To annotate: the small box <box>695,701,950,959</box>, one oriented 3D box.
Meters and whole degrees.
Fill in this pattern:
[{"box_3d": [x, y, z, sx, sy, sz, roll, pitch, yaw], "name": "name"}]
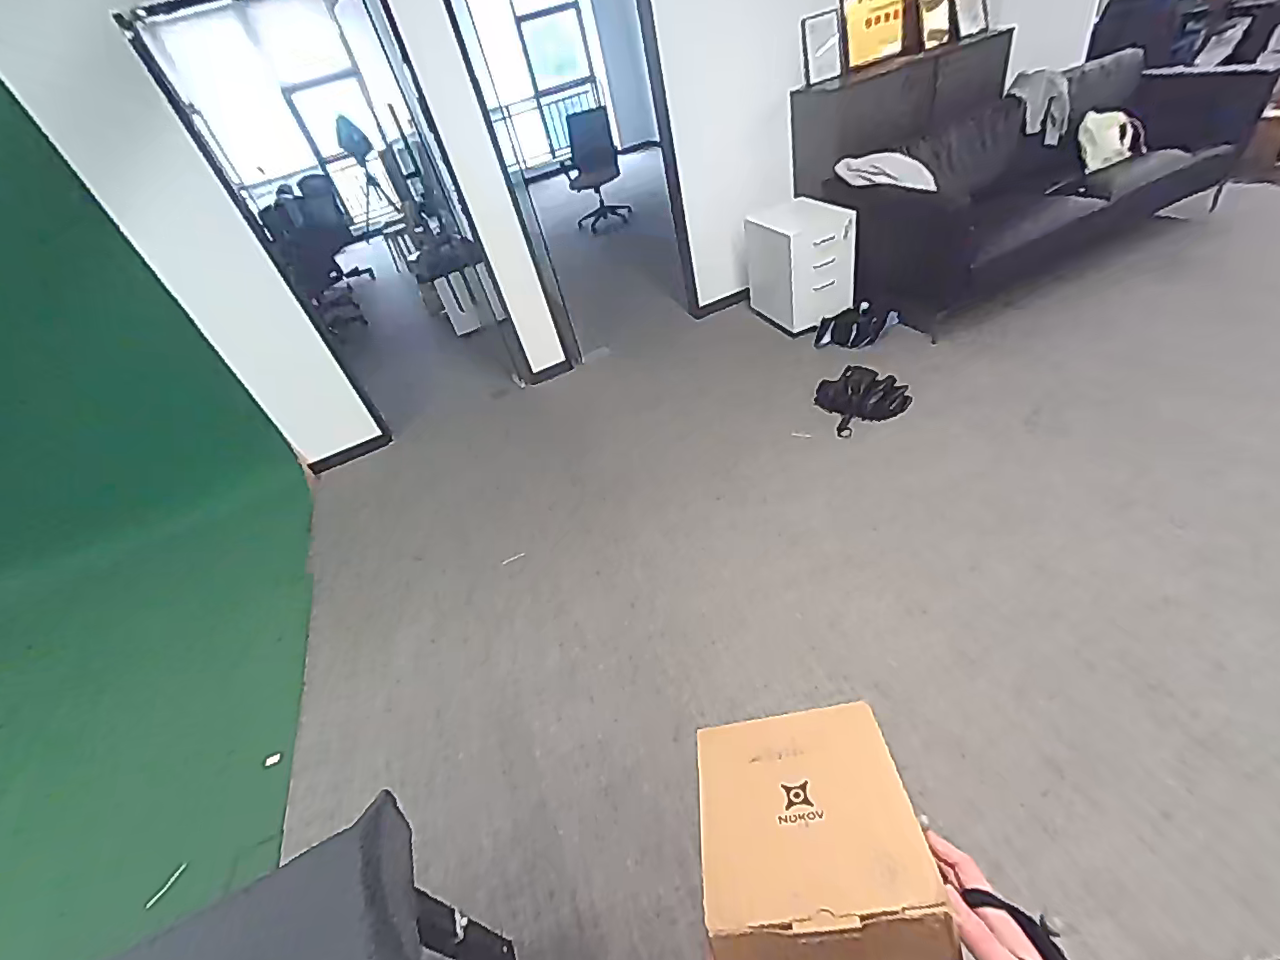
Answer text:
[{"box_3d": [0.149, 0.330, 0.466, 0.168, 0.176, 0.179, -14, 20, 9], "name": "small box"}]
